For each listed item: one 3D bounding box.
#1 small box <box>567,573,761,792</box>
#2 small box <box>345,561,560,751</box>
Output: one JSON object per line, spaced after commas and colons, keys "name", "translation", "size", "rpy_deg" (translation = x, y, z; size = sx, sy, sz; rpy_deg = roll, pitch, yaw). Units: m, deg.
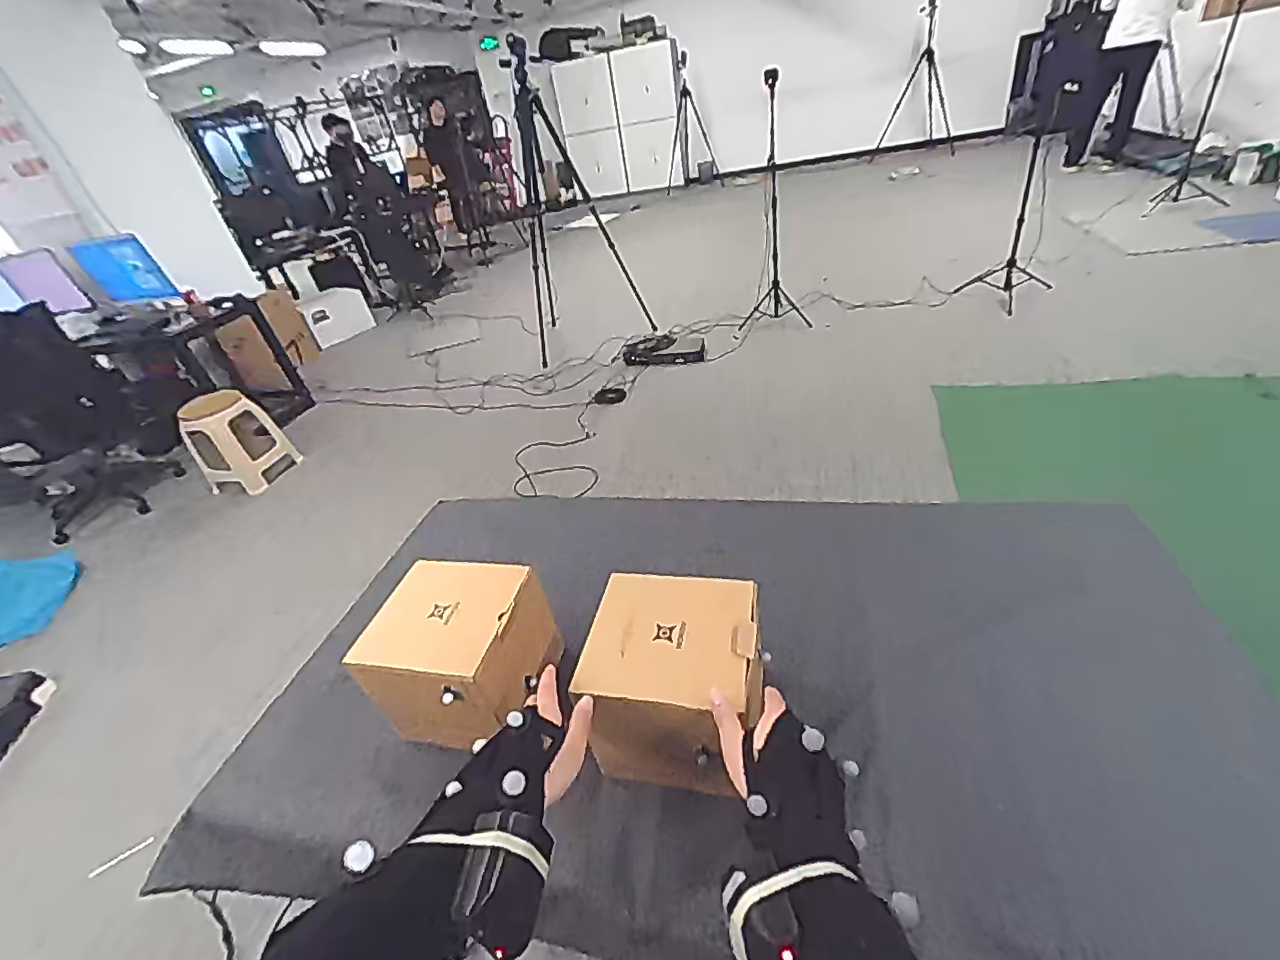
{"name": "small box", "translation": [0.042, 0.226, 0.616], "size": [0.179, 0.176, 0.168], "rpy_deg": [-1, 35, 17]}
{"name": "small box", "translation": [-0.226, 0.224, 0.701], "size": [0.179, 0.176, 0.168], "rpy_deg": [0, 36, 16]}
